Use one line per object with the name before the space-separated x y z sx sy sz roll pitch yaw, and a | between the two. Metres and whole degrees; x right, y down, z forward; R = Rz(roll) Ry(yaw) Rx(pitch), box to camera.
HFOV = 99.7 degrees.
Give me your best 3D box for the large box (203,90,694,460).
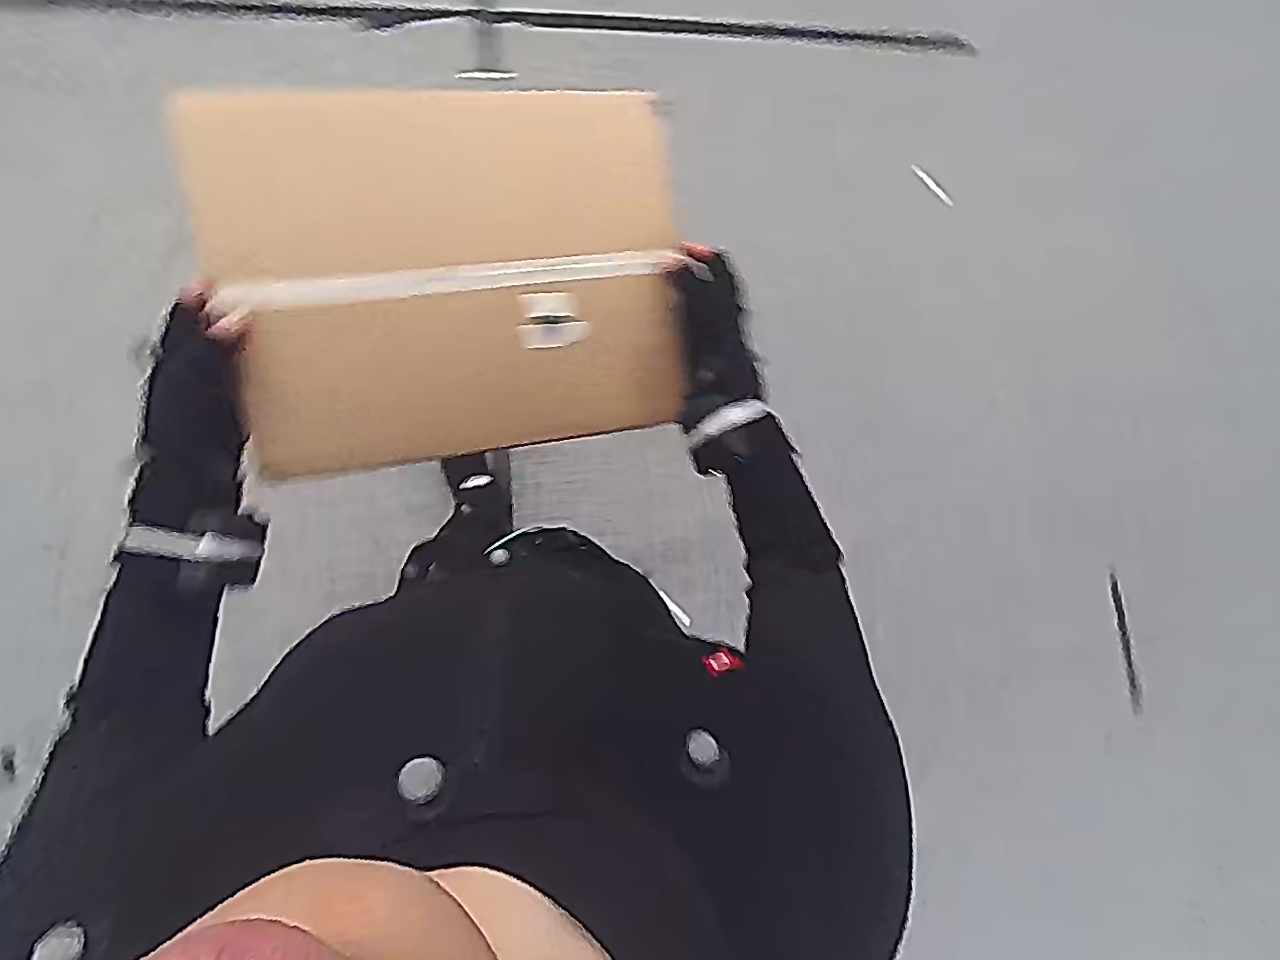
large box | -0.188 -0.214 0.649 0.408 0.320 0.320 -9 99 -14
